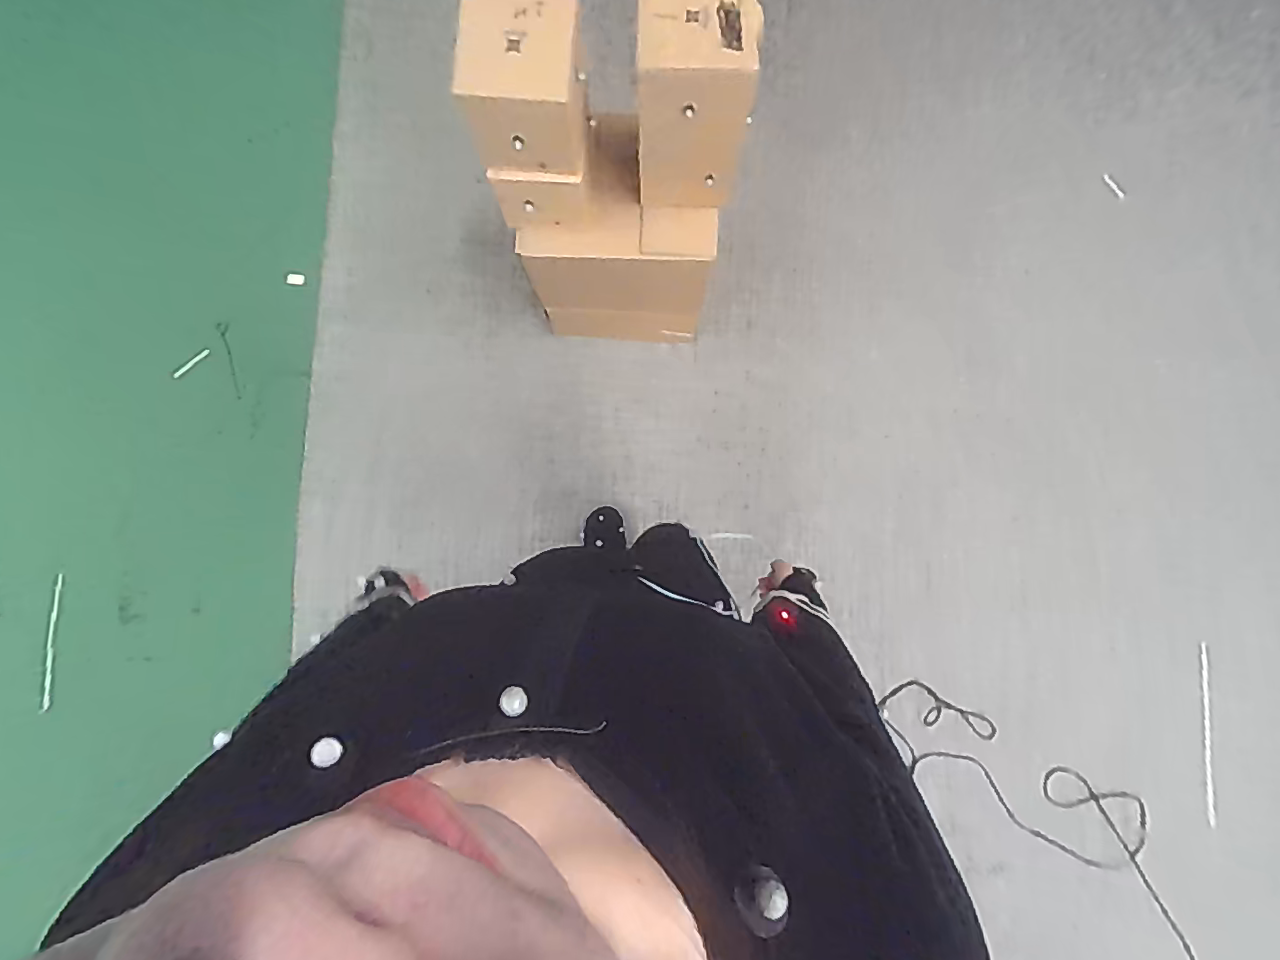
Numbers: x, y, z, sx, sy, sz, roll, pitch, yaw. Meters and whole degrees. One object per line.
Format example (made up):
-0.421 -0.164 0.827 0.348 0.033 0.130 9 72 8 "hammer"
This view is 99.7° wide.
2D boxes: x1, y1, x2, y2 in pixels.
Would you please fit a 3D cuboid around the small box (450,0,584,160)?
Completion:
-0.179 -0.633 0.838 0.168 0.176 0.179 5 87 -2 "small box"

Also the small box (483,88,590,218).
-0.183 -0.612 1.002 0.168 0.176 0.179 3 87 -1 "small box"

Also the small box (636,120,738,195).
0.083 -0.657 1.008 0.179 0.176 0.168 1 87 1 "small box"

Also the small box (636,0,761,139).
0.086 -0.666 0.844 0.179 0.176 0.168 2 87 1 "small box"
